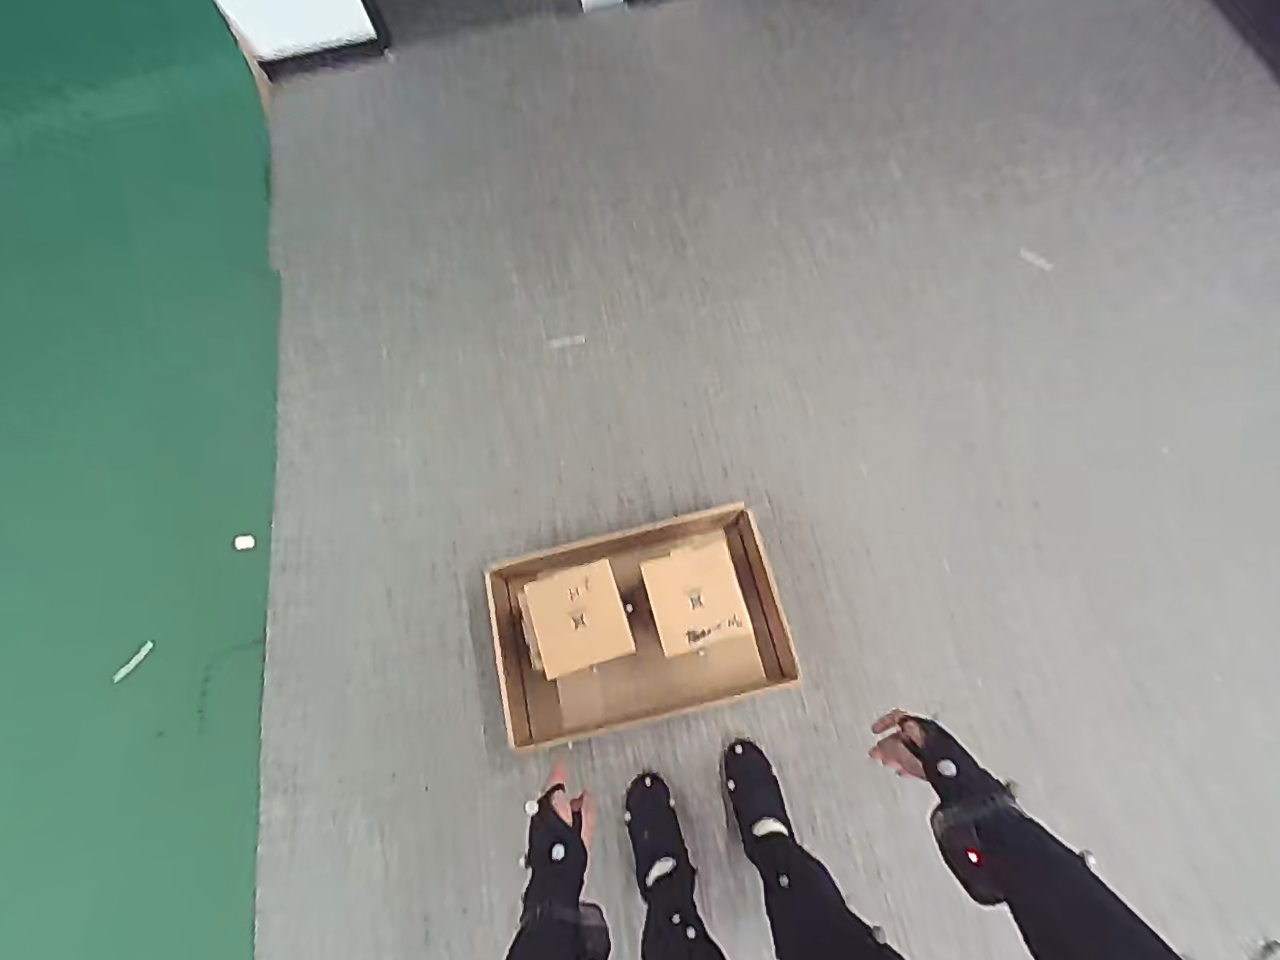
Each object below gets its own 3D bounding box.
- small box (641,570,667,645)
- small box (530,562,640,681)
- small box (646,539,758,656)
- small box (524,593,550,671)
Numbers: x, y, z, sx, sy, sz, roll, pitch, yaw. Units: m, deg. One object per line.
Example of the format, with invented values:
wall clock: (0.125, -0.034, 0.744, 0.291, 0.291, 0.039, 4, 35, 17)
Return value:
small box: (0.115, 0.268, 1.217, 0.179, 0.176, 0.168, -20, 72, -2)
small box: (-0.100, 0.277, 1.059, 0.168, 0.176, 0.179, -18, 73, -5)
small box: (0.116, 0.236, 1.054, 0.168, 0.176, 0.179, -17, 71, 0)
small box: (-0.143, 0.323, 1.218, 0.179, 0.176, 0.168, -16, 73, -3)
